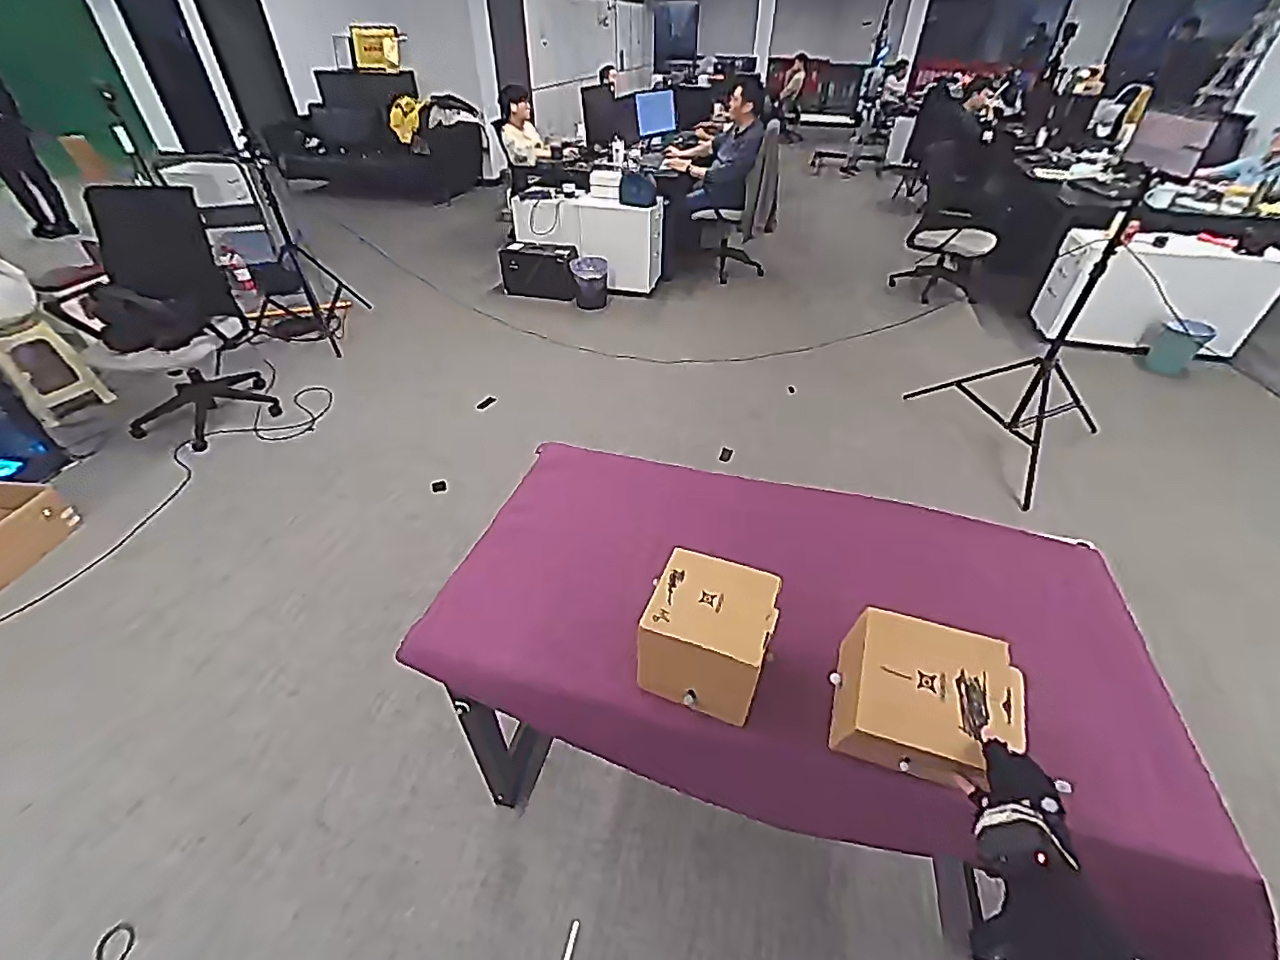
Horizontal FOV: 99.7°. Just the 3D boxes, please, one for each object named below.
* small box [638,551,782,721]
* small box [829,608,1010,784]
[{"bbox_3d":[0.106,0.245,0.845,0.179,0.176,0.168,15,41,16],"label":"small box"},{"bbox_3d":[0.375,0.303,0.746,0.179,0.176,0.168,12,57,15],"label":"small box"}]
